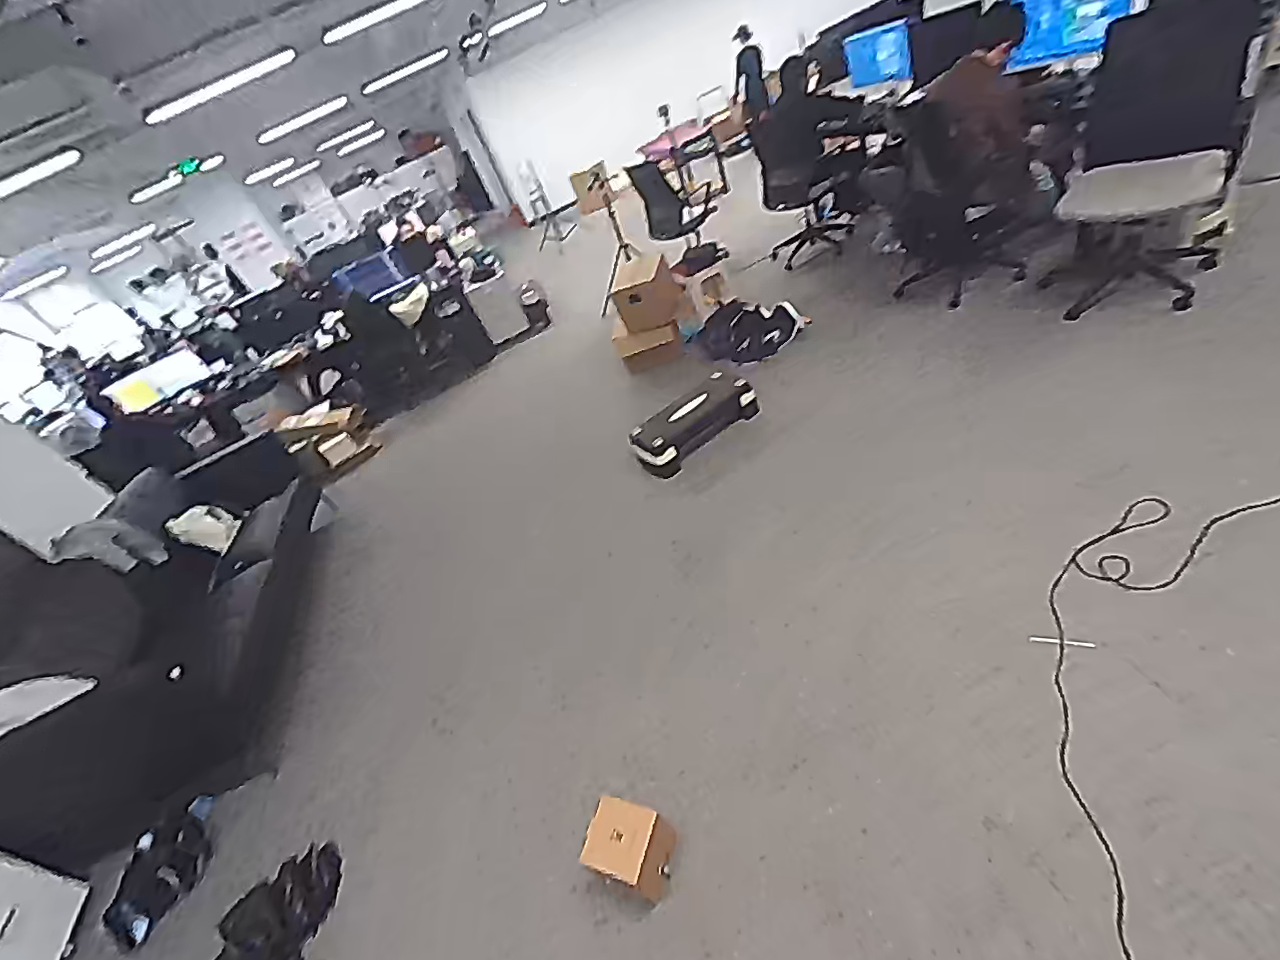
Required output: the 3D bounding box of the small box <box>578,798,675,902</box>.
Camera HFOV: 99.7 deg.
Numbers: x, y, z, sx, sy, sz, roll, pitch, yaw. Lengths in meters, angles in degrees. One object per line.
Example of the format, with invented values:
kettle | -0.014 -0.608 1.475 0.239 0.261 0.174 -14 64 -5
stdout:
small box | -0.029 0.982 1.435 0.179 0.176 0.168 -2 42 29
